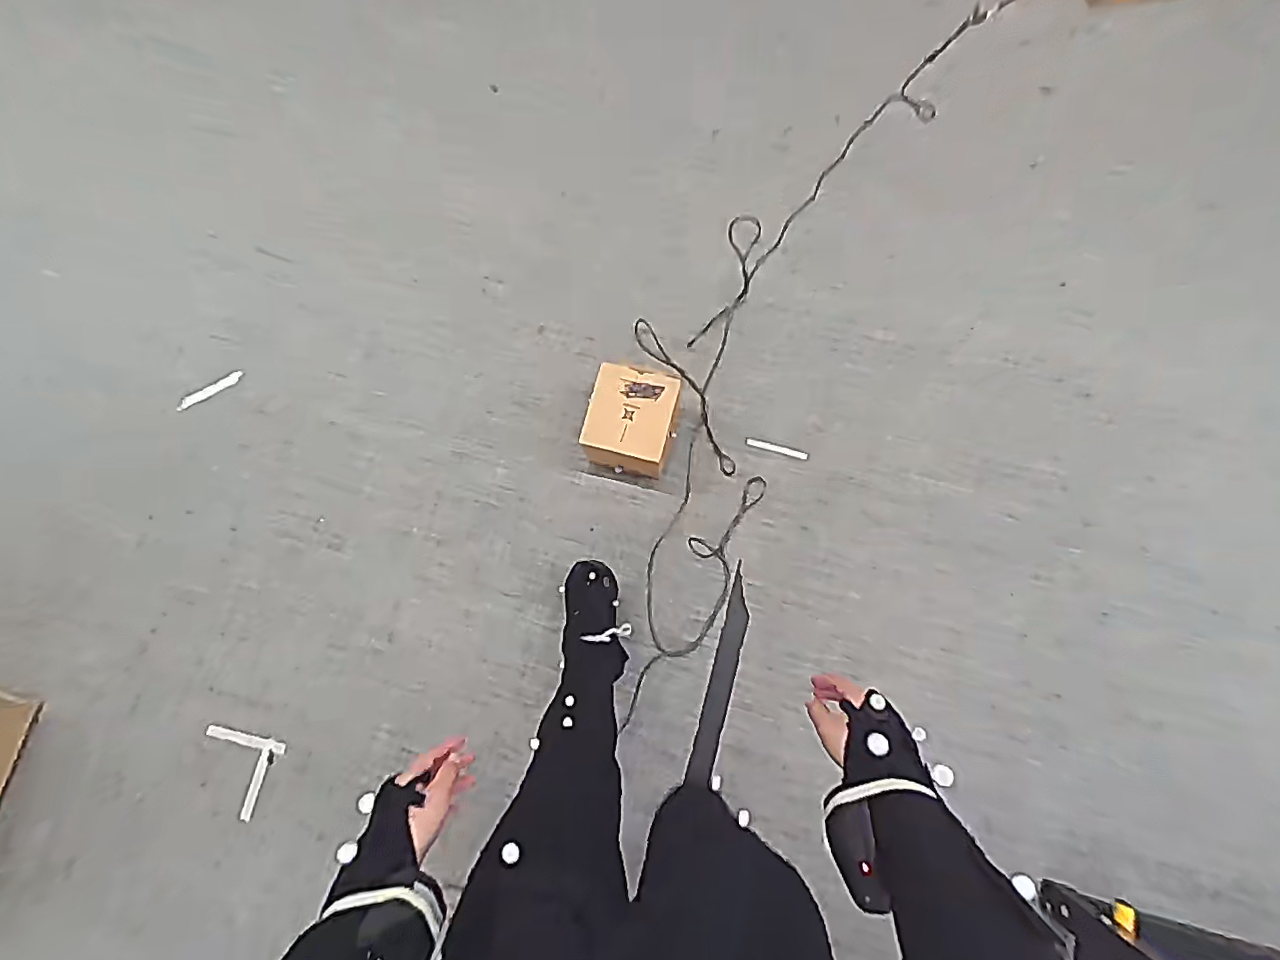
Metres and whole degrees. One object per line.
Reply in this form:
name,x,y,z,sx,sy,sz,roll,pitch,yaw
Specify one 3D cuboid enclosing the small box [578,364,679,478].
small box,-0.021,-0.117,1.138,0.168,0.176,0.179,14,81,4
